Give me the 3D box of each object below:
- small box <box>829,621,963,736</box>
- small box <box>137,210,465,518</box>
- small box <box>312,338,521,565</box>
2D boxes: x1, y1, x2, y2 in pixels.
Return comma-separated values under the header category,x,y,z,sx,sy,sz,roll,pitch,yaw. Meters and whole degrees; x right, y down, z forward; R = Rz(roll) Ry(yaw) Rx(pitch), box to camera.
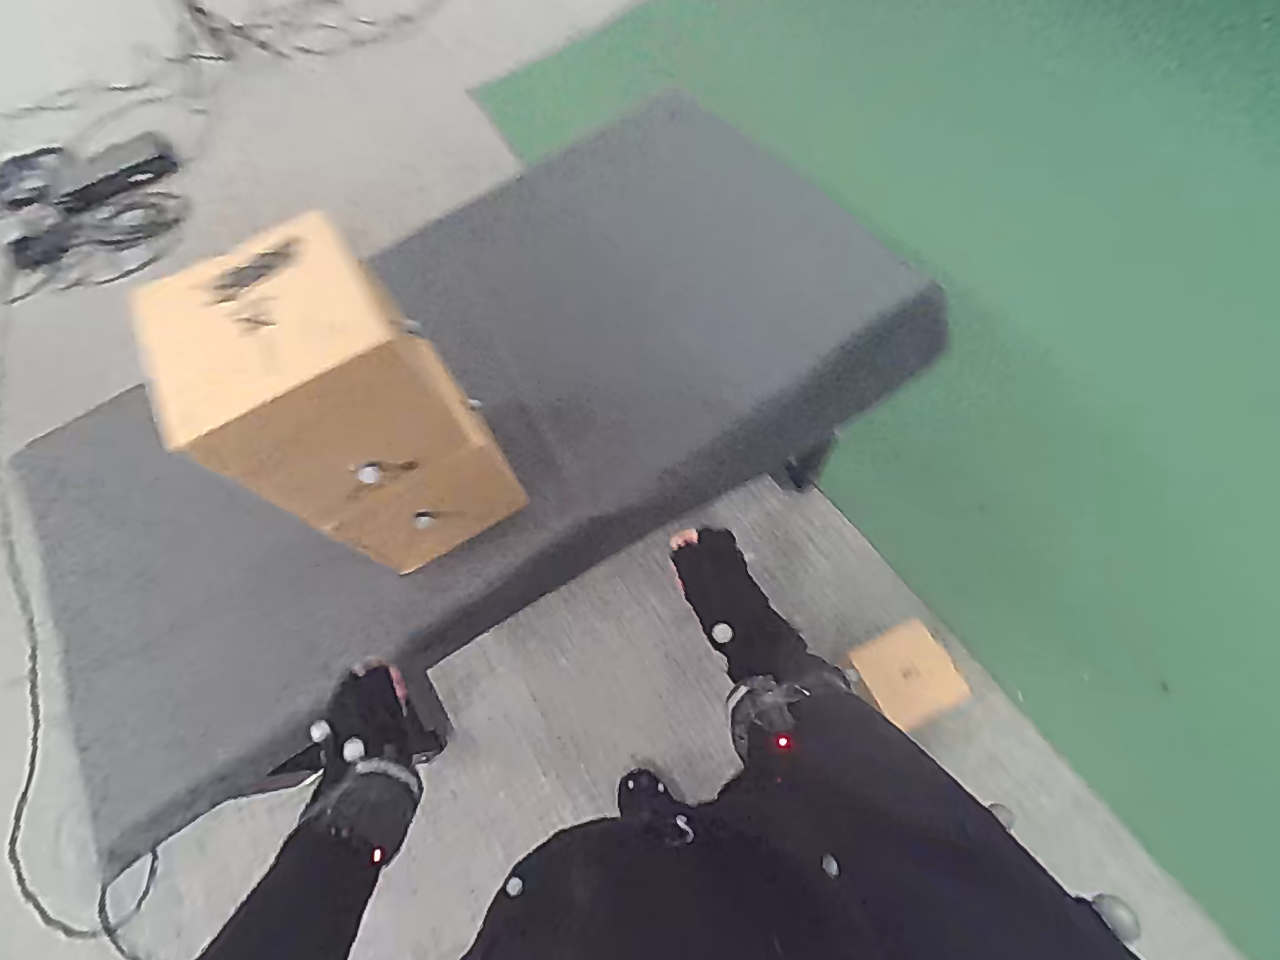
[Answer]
category,x,y,z,sx,sy,sz,roll,pitch,yaw
small box,0.534,0.425,1.158,0.179,0.176,0.168,-27,65,-4
small box,-0.289,-0.095,0.489,0.168,0.176,0.179,-30,67,-8
small box,-0.268,-0.023,0.637,0.179,0.176,0.168,-31,66,-8
